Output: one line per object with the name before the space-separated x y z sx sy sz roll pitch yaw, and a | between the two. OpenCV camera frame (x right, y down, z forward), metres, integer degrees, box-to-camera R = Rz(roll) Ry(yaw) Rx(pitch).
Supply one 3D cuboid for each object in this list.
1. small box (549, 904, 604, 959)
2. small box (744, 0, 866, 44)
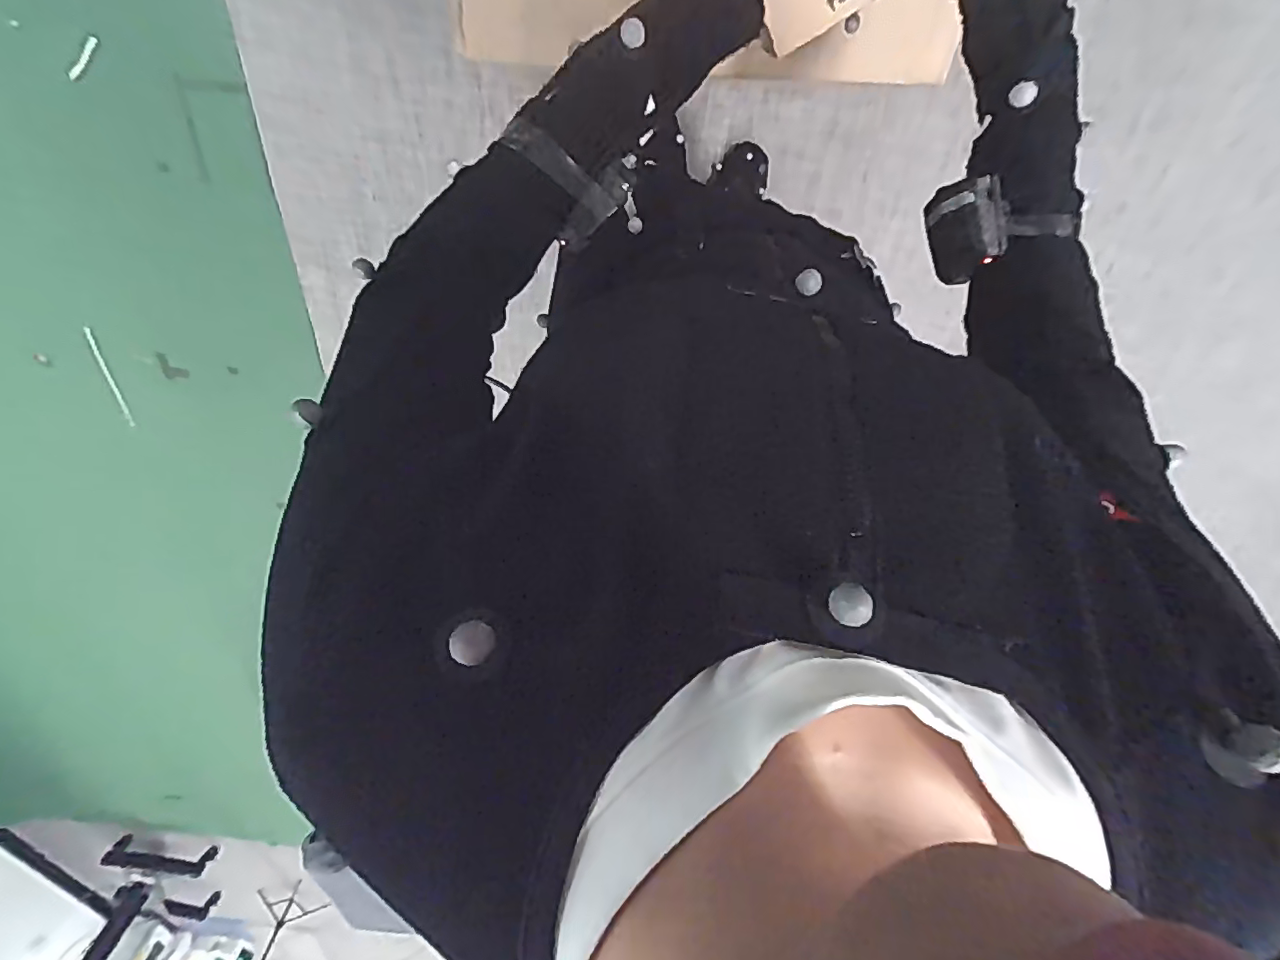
small box | -0.216 1.568 1.833 0.168 0.176 0.179 4 127 1
small box | 0.154 -0.492 0.435 0.168 0.176 0.179 -19 127 19
